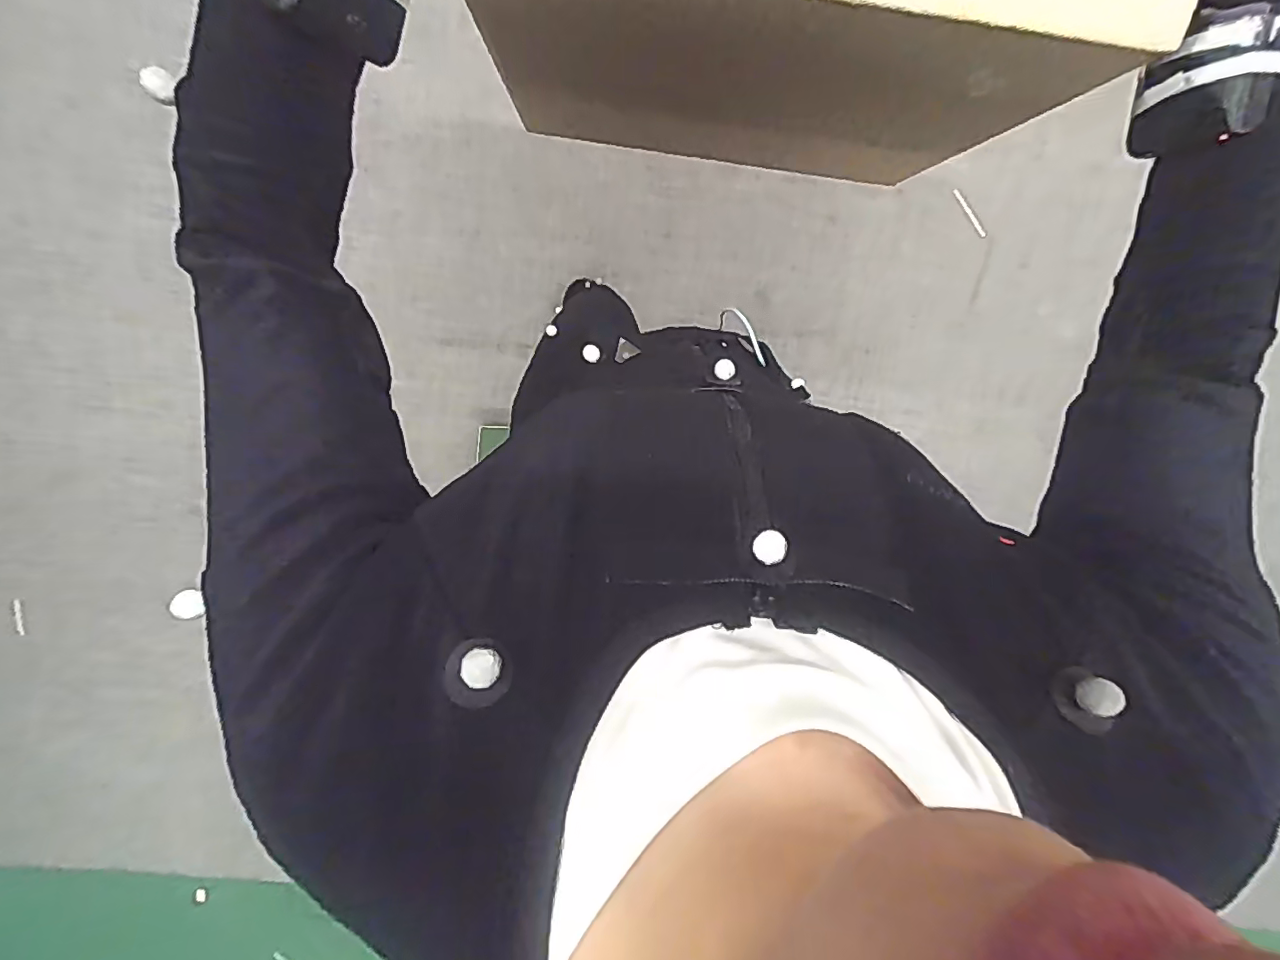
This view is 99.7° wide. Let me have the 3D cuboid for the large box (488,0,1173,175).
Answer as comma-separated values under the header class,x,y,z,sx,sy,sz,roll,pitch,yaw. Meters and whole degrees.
class,x,y,z,sx,sy,sz,roll,pitch,yaw
large box,0.106,-0.452,0.394,0.408,0.320,0.320,5,106,-5
